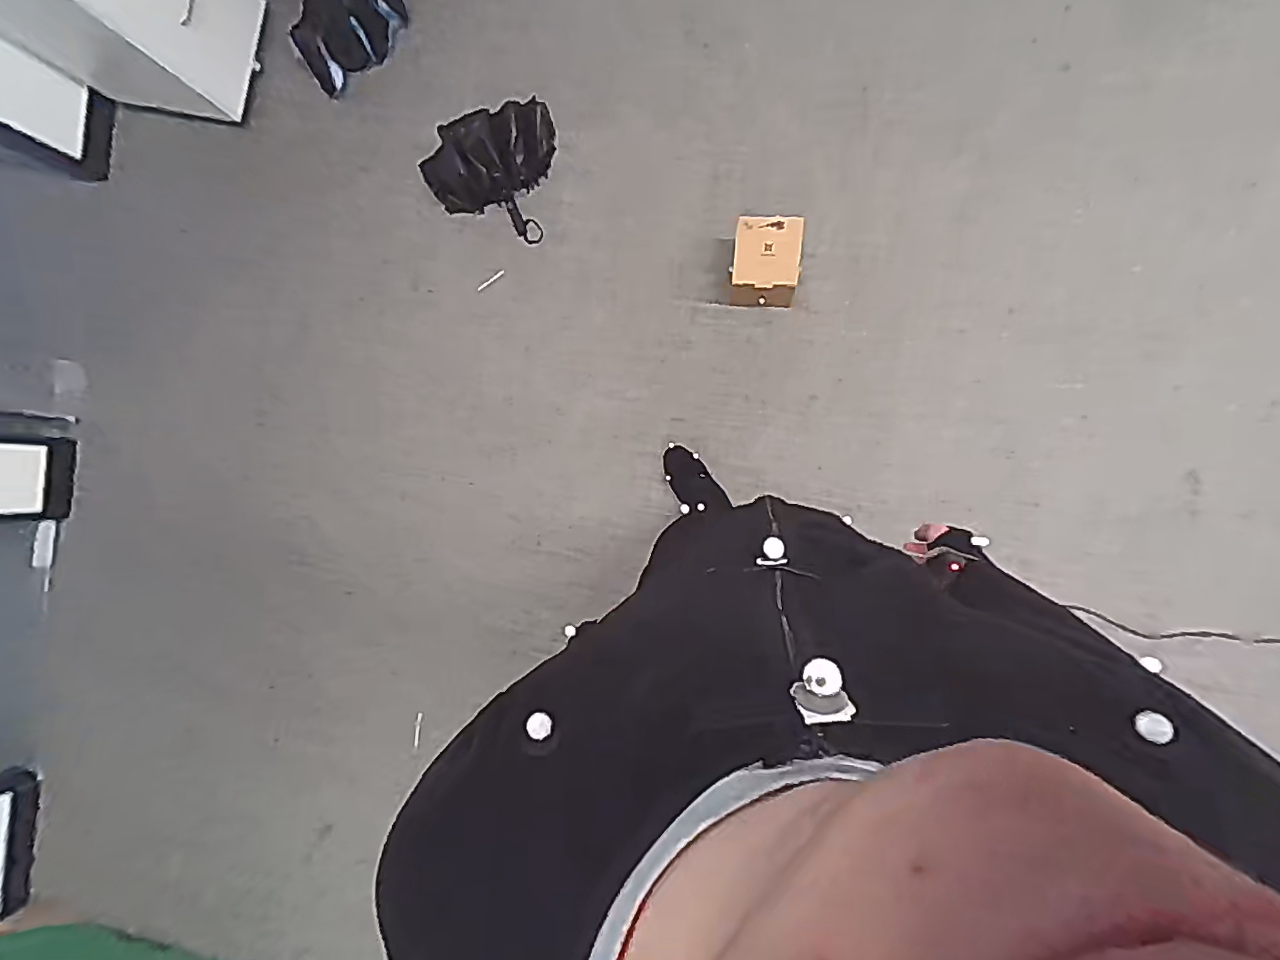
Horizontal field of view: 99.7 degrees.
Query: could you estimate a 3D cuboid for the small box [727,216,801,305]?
[{"bbox_3d":[0.324,-0.573,1.430,0.168,0.176,0.179,6,92,9],"label":"small box"}]
